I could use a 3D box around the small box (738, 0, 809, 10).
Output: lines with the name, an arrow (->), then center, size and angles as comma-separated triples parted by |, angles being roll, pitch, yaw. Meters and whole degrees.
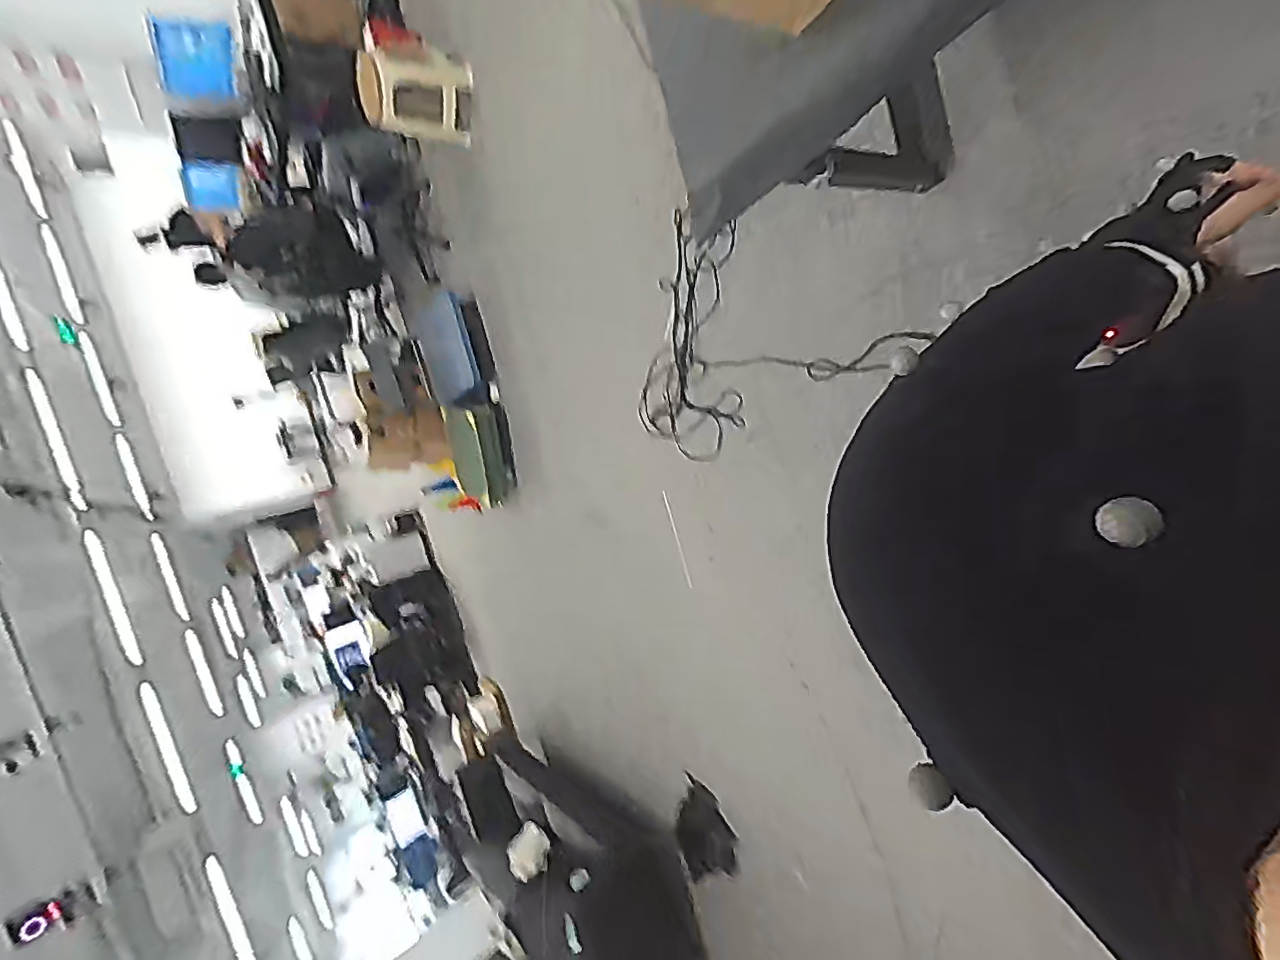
small box -> 0.146, -0.626, 0.544 | 0.168, 0.176, 0.179 | -17, 92, 55
